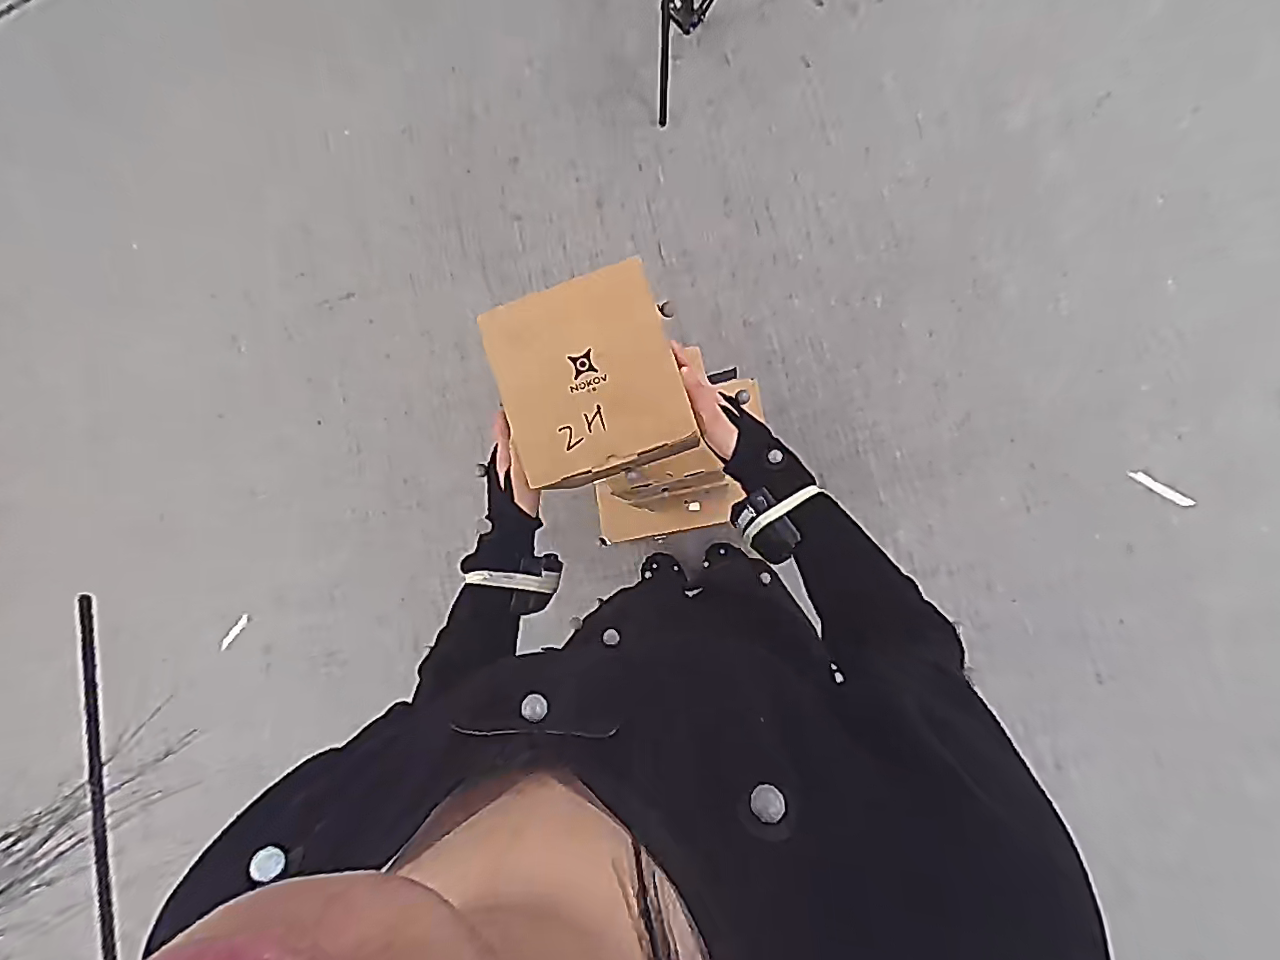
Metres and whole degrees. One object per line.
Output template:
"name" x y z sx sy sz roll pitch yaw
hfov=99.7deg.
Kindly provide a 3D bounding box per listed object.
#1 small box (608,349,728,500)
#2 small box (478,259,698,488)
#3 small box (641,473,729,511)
"small box" 0.031 -0.073 0.819 0.168 0.176 0.179 -13 84 6
"small box" -0.043 -0.094 0.571 0.168 0.176 0.179 -18 88 6
"small box" 0.083 -0.033 1.140 0.179 0.176 0.168 -14 84 5
